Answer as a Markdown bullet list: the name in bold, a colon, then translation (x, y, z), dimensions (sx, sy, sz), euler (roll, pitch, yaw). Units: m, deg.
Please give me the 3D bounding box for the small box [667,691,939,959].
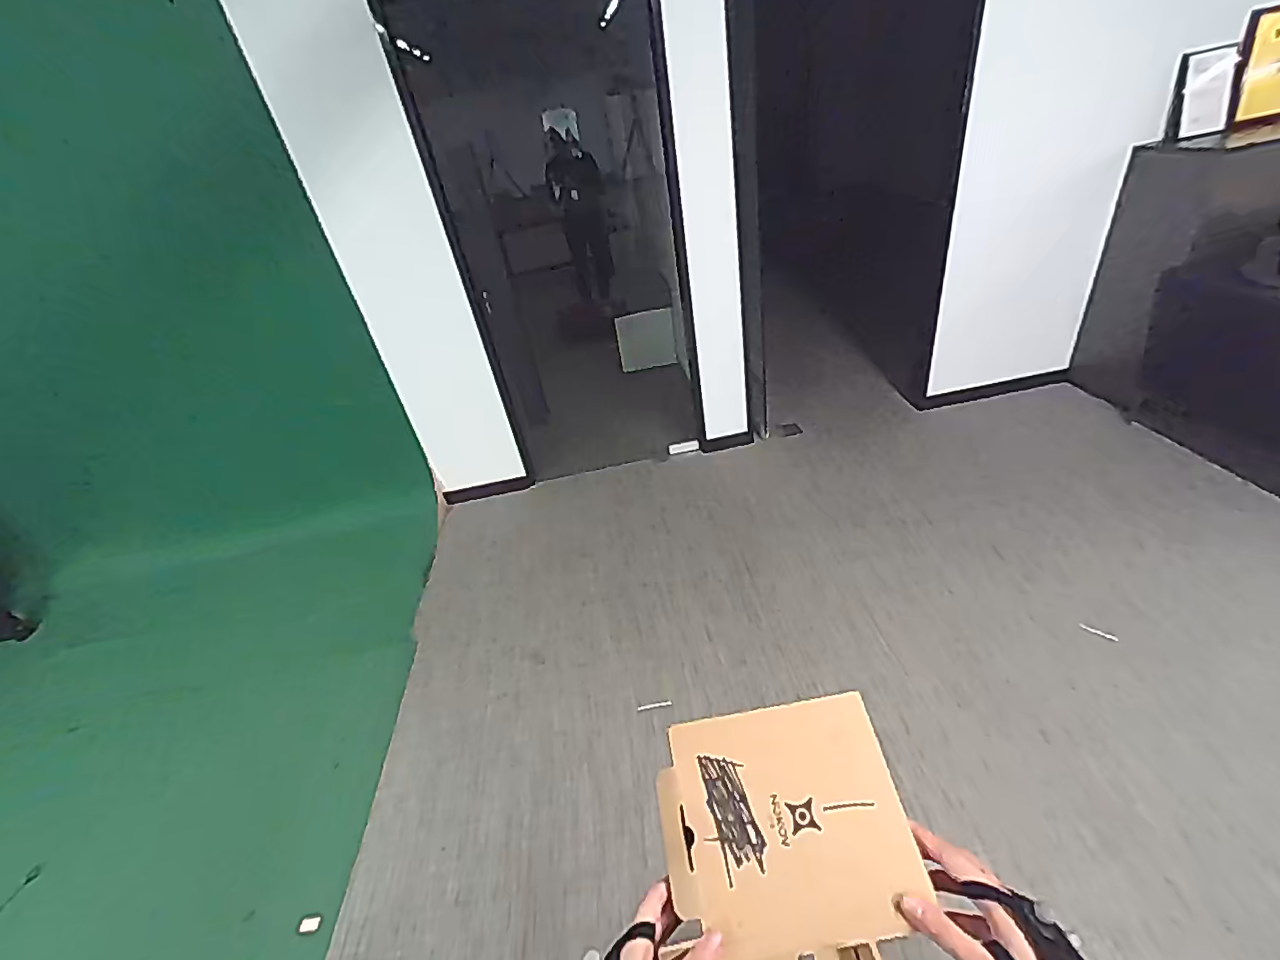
- **small box**: translation (0.130, 0.312, 0.499), dimensions (0.179, 0.176, 0.168), euler (-11, 56, 0)
